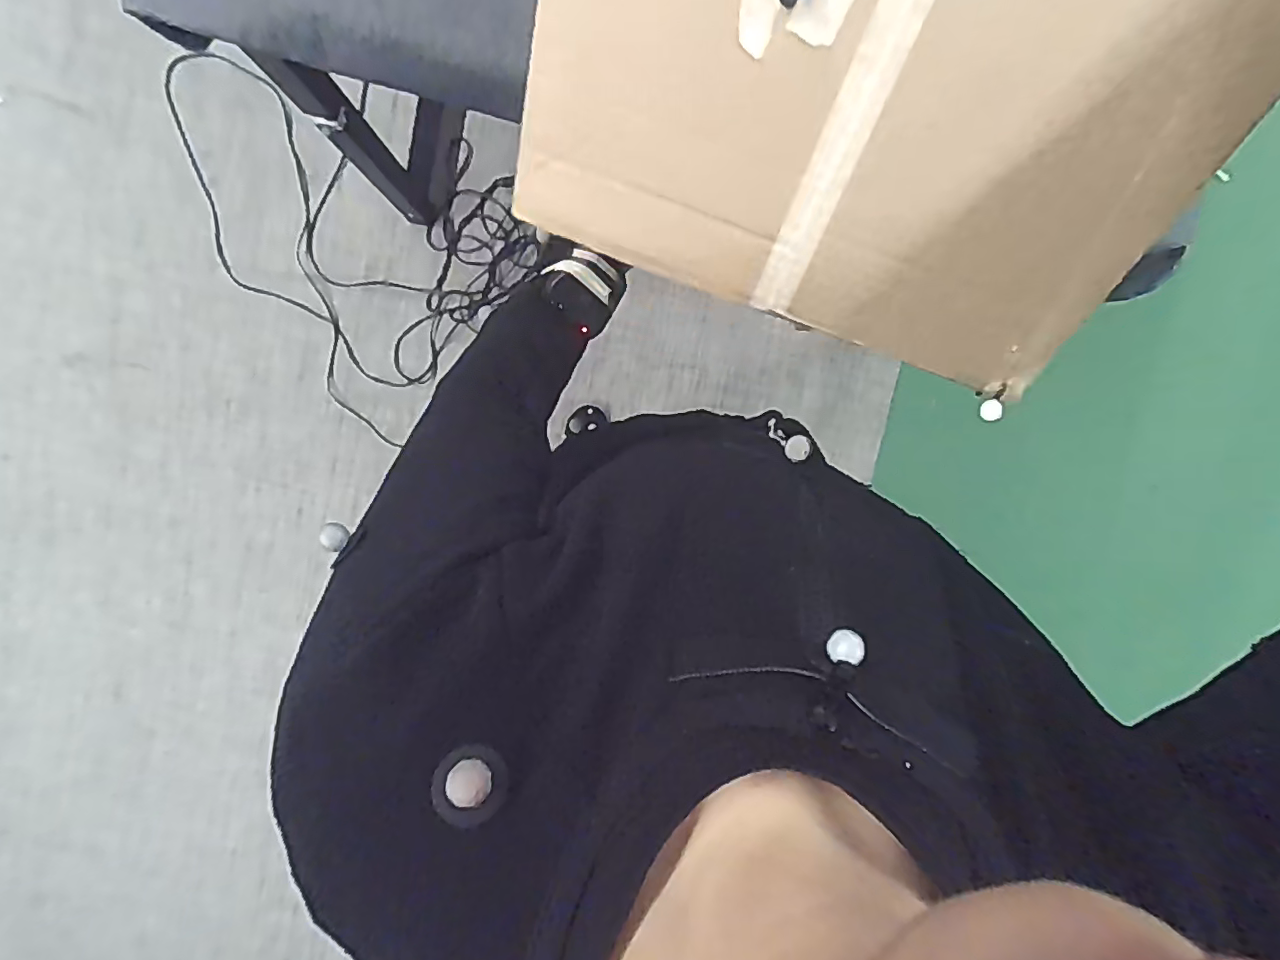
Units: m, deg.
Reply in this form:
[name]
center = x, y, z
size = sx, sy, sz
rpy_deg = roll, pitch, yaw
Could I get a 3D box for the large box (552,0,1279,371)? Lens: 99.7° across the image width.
[large box]
center = 0.165, -0.348, 0.317
size = 0.320, 0.320, 0.408
rpy_deg = 19, 130, -1
